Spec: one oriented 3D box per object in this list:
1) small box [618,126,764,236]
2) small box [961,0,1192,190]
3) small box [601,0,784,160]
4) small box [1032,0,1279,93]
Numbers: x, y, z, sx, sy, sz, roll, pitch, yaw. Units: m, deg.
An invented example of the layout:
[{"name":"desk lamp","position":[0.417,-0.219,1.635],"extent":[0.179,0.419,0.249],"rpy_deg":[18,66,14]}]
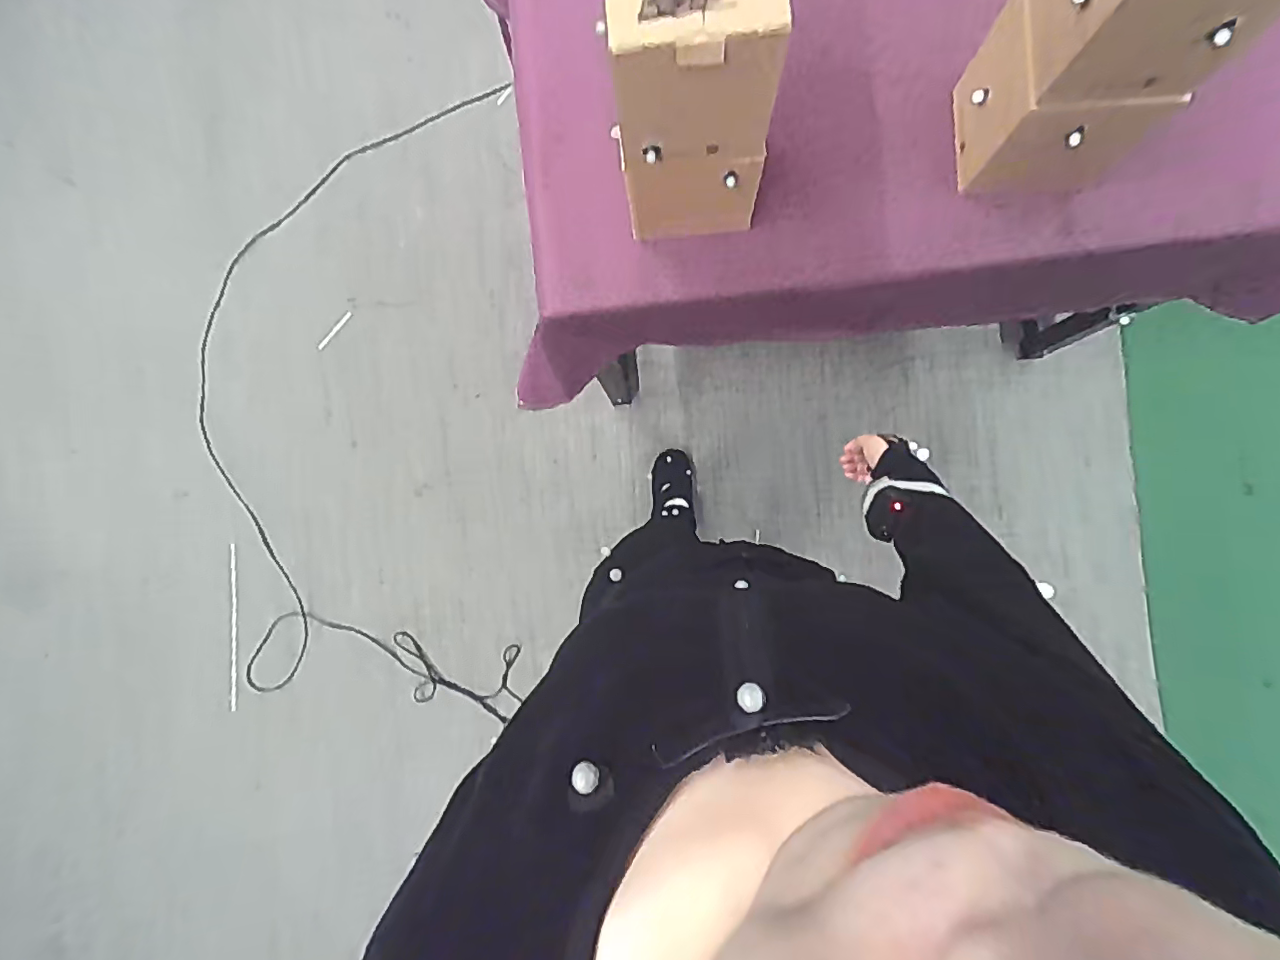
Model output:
[{"name":"small box","position":[0.065,-0.455,0.737],"extent":[0.179,0.176,0.168],"rpy_deg":[-4,85,4]},{"name":"small box","position":[0.539,-0.500,0.697],"extent":[0.179,0.176,0.168],"rpy_deg":[0,86,5]},{"name":"small box","position":[0.050,-0.471,0.574],"extent":[0.168,0.176,0.179],"rpy_deg":[-5,84,4]},{"name":"small box","position":[0.525,-0.521,0.536],"extent":[0.168,0.176,0.179],"rpy_deg":[0,85,5]}]
